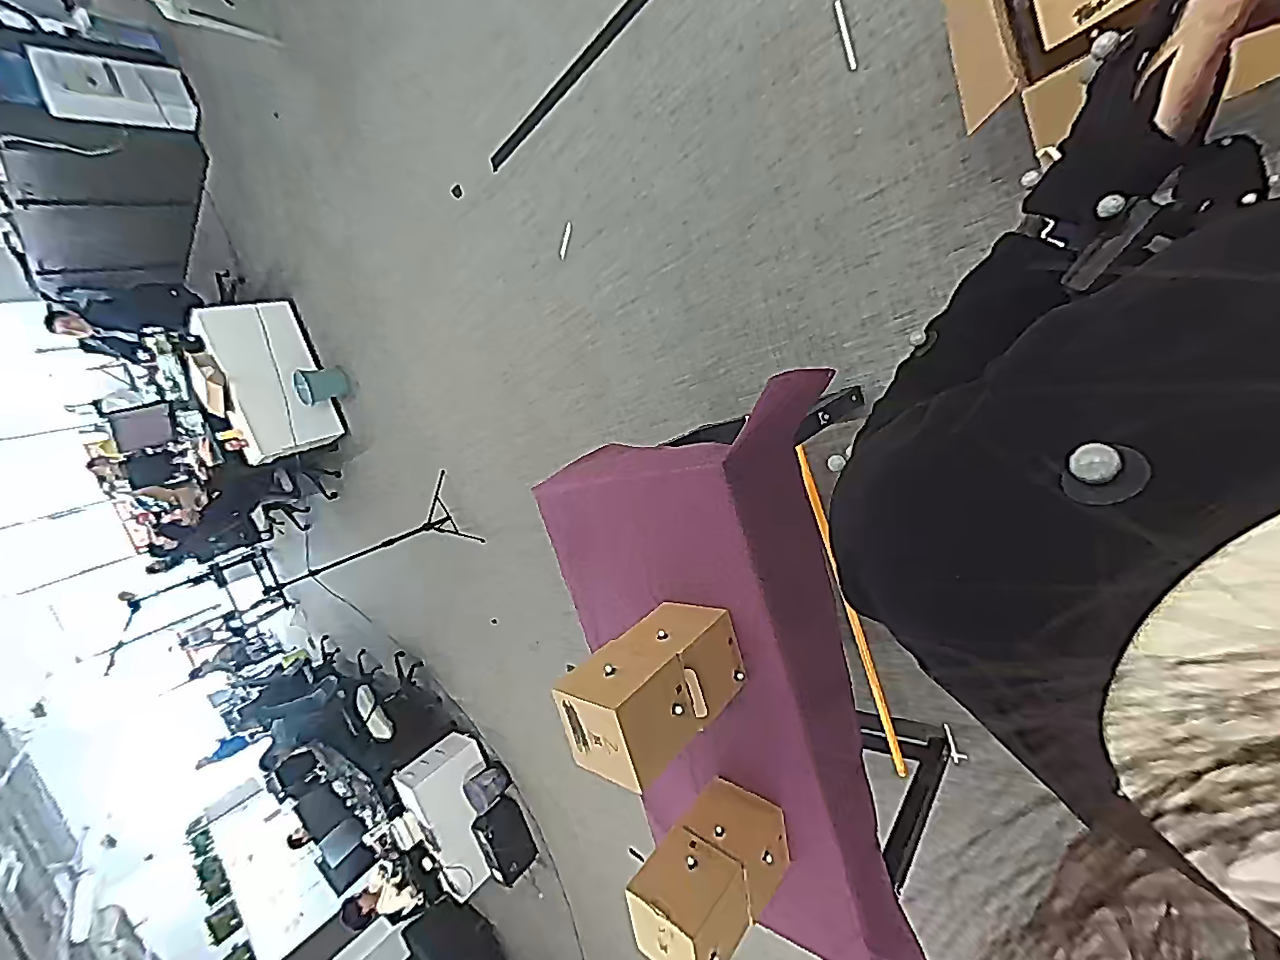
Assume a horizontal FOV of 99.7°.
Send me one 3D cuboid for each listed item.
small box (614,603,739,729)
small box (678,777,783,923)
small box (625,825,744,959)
[{"bbox_3d":[0.082,0.364,1.096,0.179,0.176,0.168,-5,106,45],"label":"small box"},{"bbox_3d":[0.204,0.802,1.193,0.179,0.176,0.168,5,112,42],"label":"small box"},{"bbox_3d":[0.095,0.849,1.080,0.168,0.176,0.179,6,112,41],"label":"small box"}]
